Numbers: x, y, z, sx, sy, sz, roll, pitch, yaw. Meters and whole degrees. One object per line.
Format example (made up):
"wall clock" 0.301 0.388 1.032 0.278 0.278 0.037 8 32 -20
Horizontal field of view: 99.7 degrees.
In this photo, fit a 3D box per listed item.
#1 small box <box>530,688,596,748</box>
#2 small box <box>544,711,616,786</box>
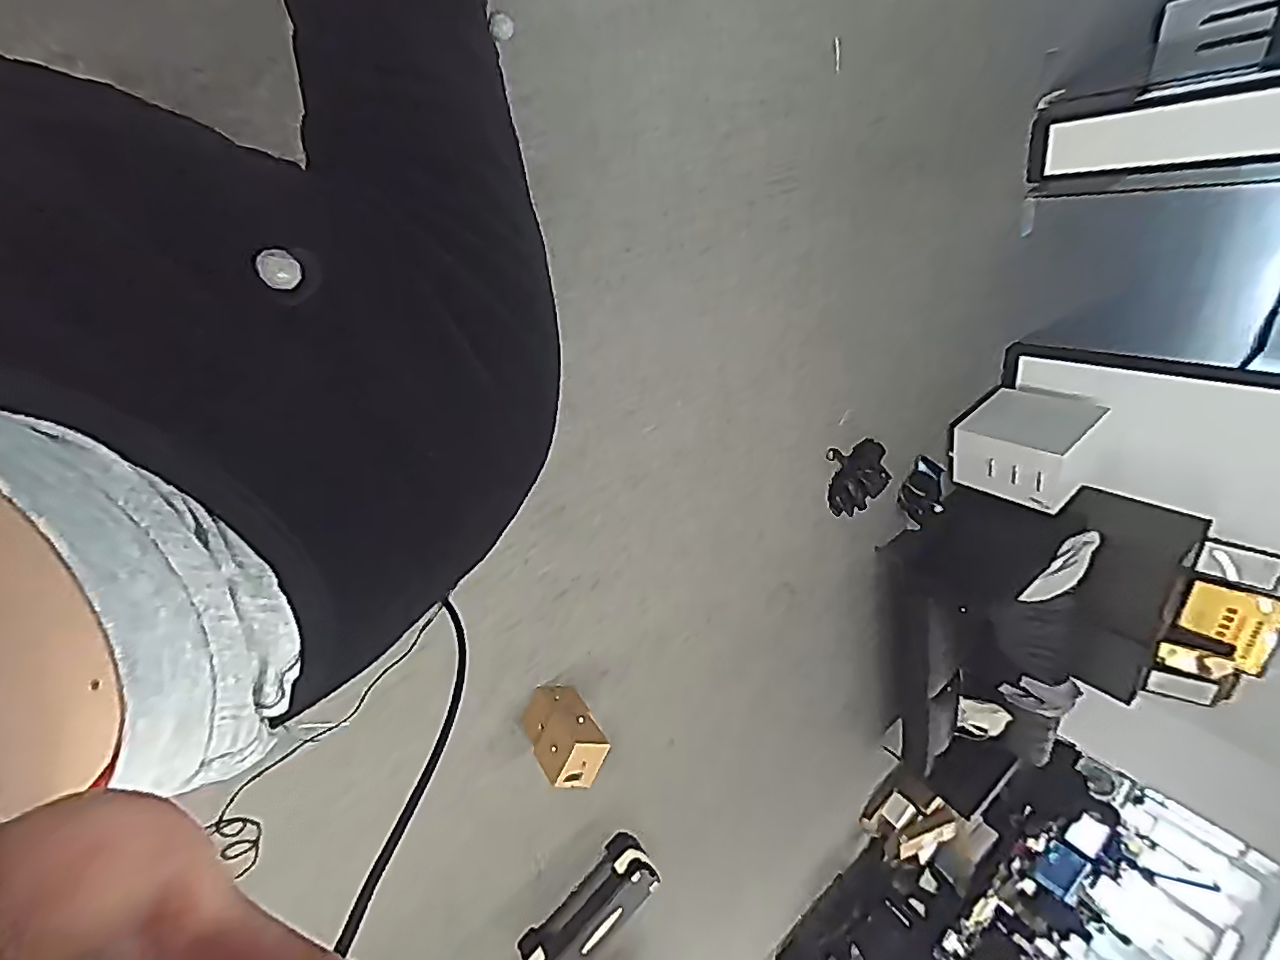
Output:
"small box" -0.302 0.914 2.070 0.168 0.176 0.179 15 100 -39
"small box" -0.223 0.959 1.933 0.168 0.176 0.179 25 92 -40
